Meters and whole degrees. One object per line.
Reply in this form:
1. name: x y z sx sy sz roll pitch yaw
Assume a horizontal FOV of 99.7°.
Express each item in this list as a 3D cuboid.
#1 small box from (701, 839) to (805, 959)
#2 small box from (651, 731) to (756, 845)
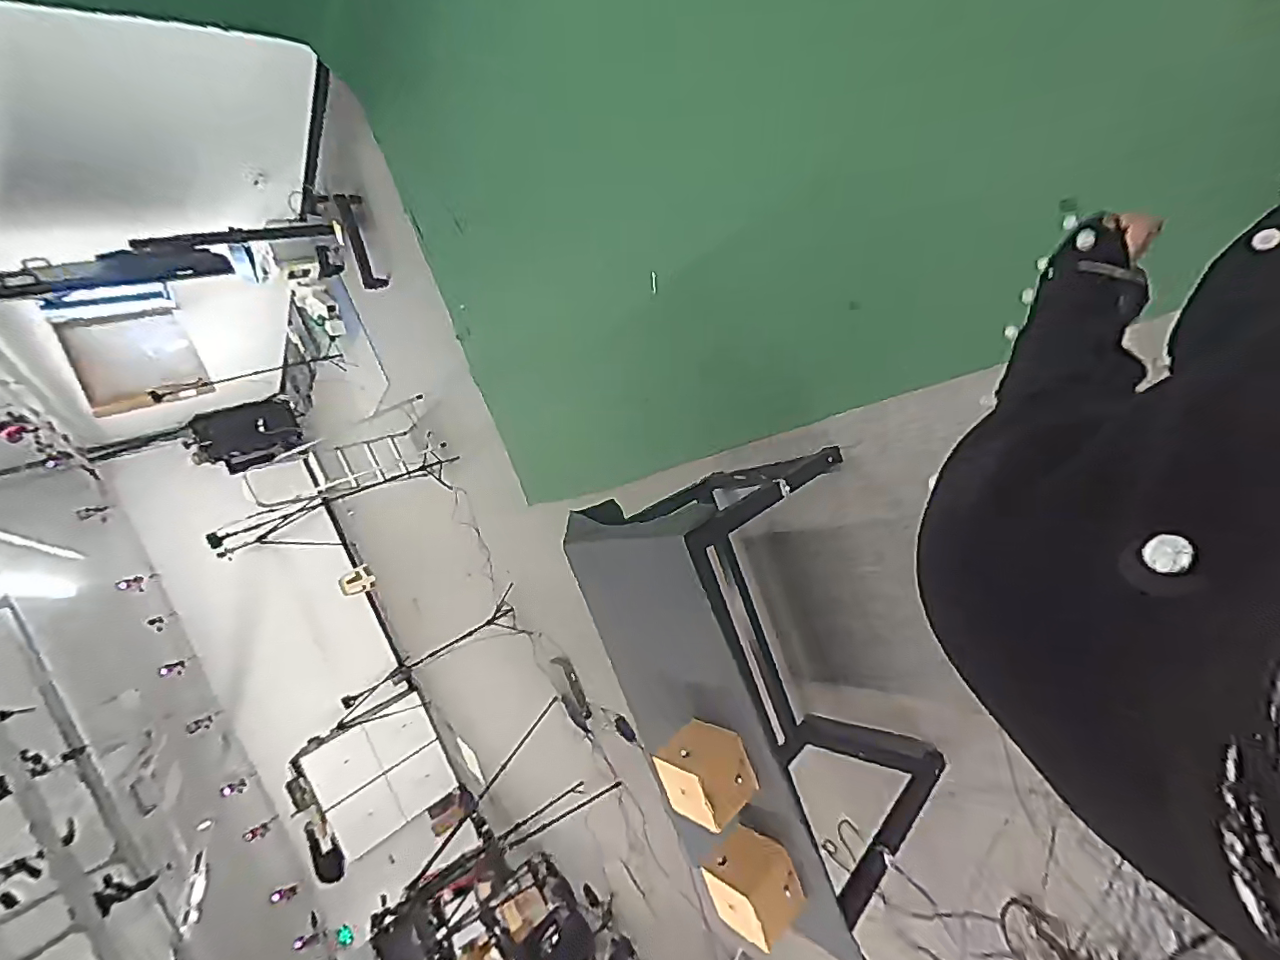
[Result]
1. small box: 0.294 1.082 1.405 0.179 0.176 0.168 -12 101 52
2. small box: 0.165 0.776 1.387 0.179 0.176 0.168 -14 99 51
